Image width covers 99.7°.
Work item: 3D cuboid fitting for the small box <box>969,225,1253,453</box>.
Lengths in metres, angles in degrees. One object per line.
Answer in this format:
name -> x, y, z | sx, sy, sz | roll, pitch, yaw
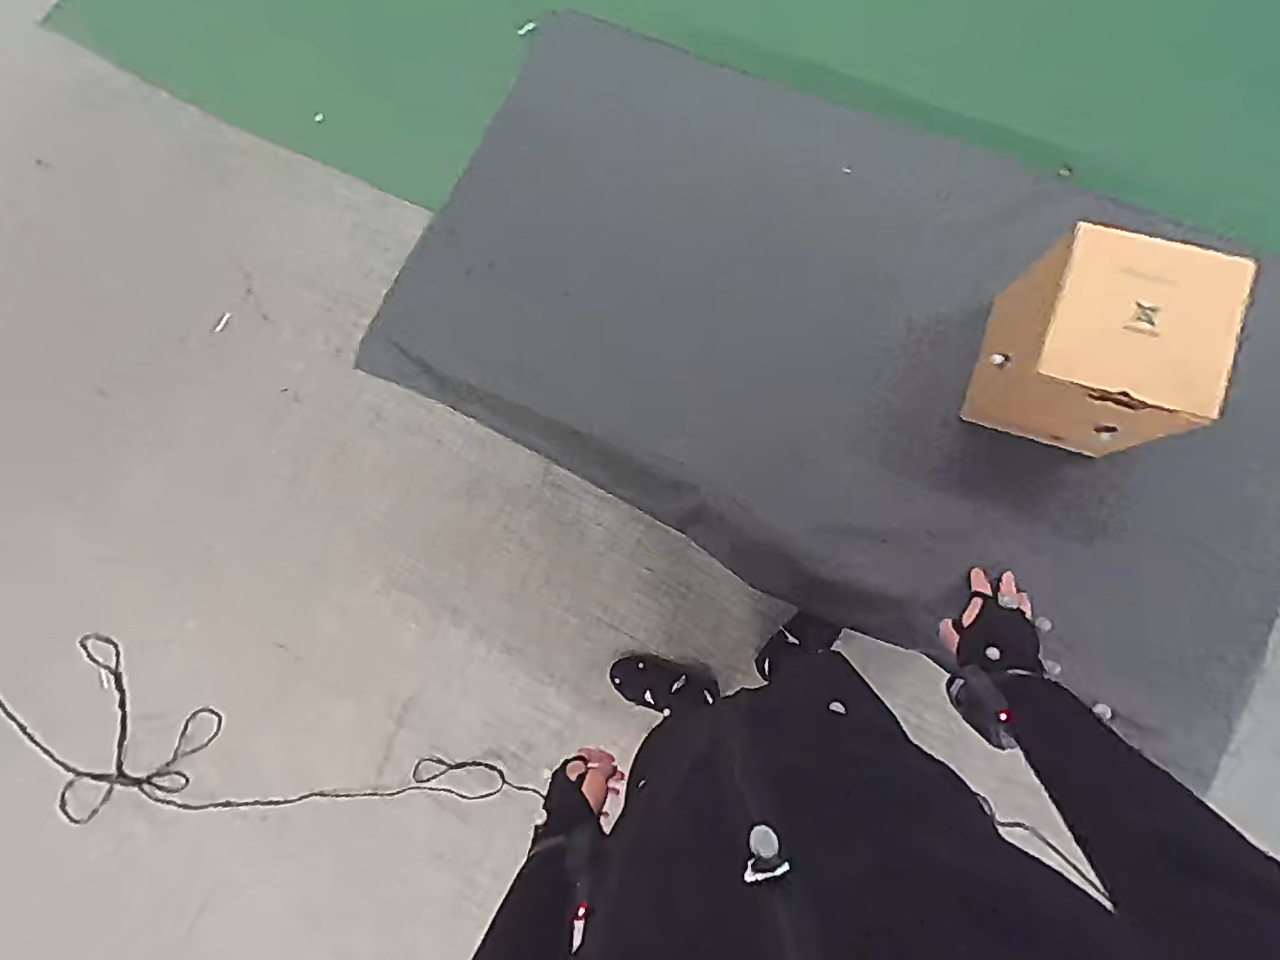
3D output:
small box -> 0.513, -0.146, 0.618 | 0.168, 0.176, 0.179 | 19, 82, 9
